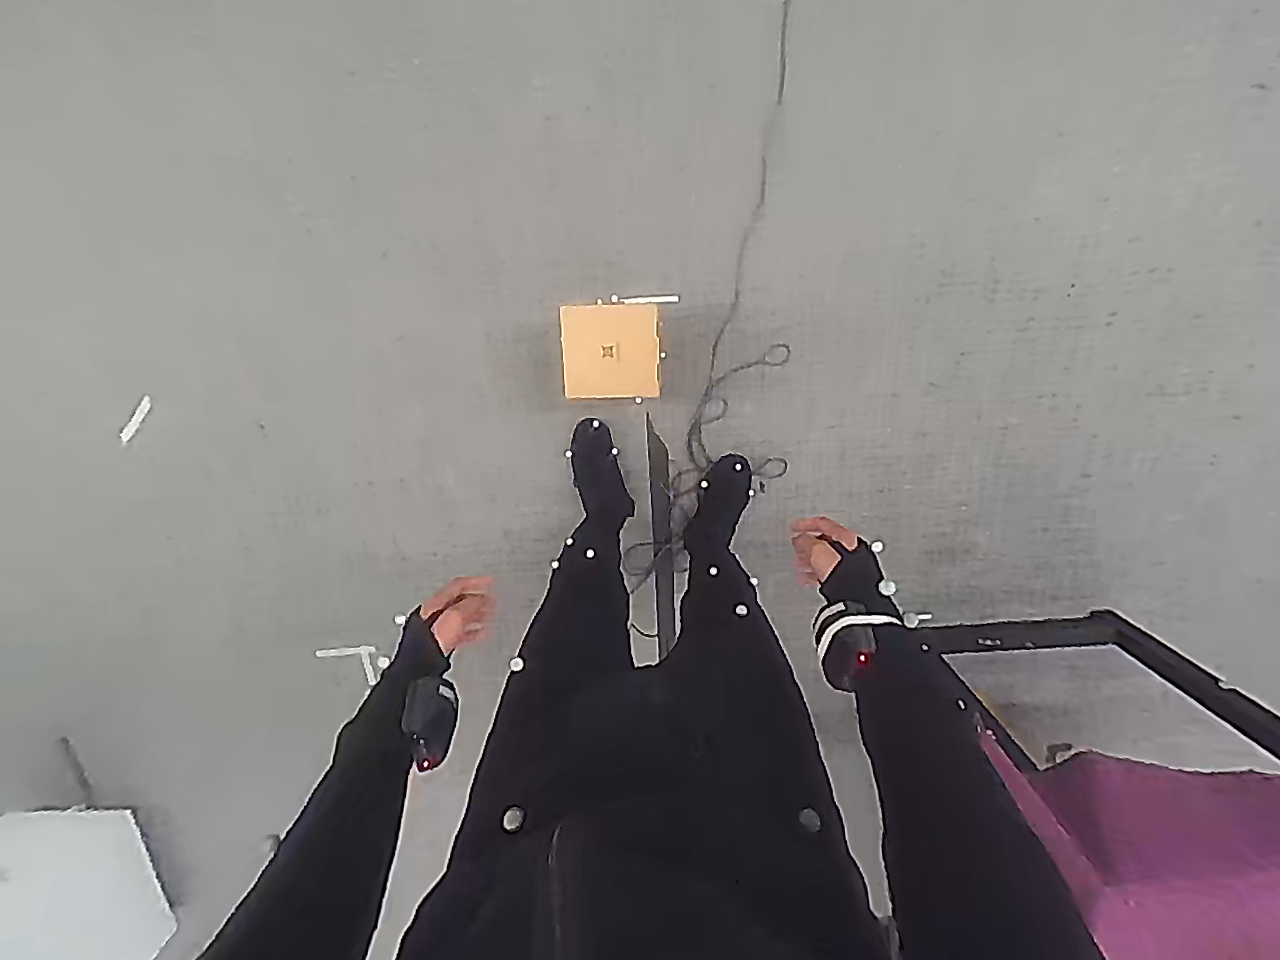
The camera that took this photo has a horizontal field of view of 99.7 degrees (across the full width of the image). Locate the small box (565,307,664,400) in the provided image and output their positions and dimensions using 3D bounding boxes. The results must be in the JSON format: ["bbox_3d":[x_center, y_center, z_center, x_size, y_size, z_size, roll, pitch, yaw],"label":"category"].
[{"bbox_3d":[-0.042,-0.246,1.050,0.179,0.176,0.168,-1,106,2],"label":"small box"}]
